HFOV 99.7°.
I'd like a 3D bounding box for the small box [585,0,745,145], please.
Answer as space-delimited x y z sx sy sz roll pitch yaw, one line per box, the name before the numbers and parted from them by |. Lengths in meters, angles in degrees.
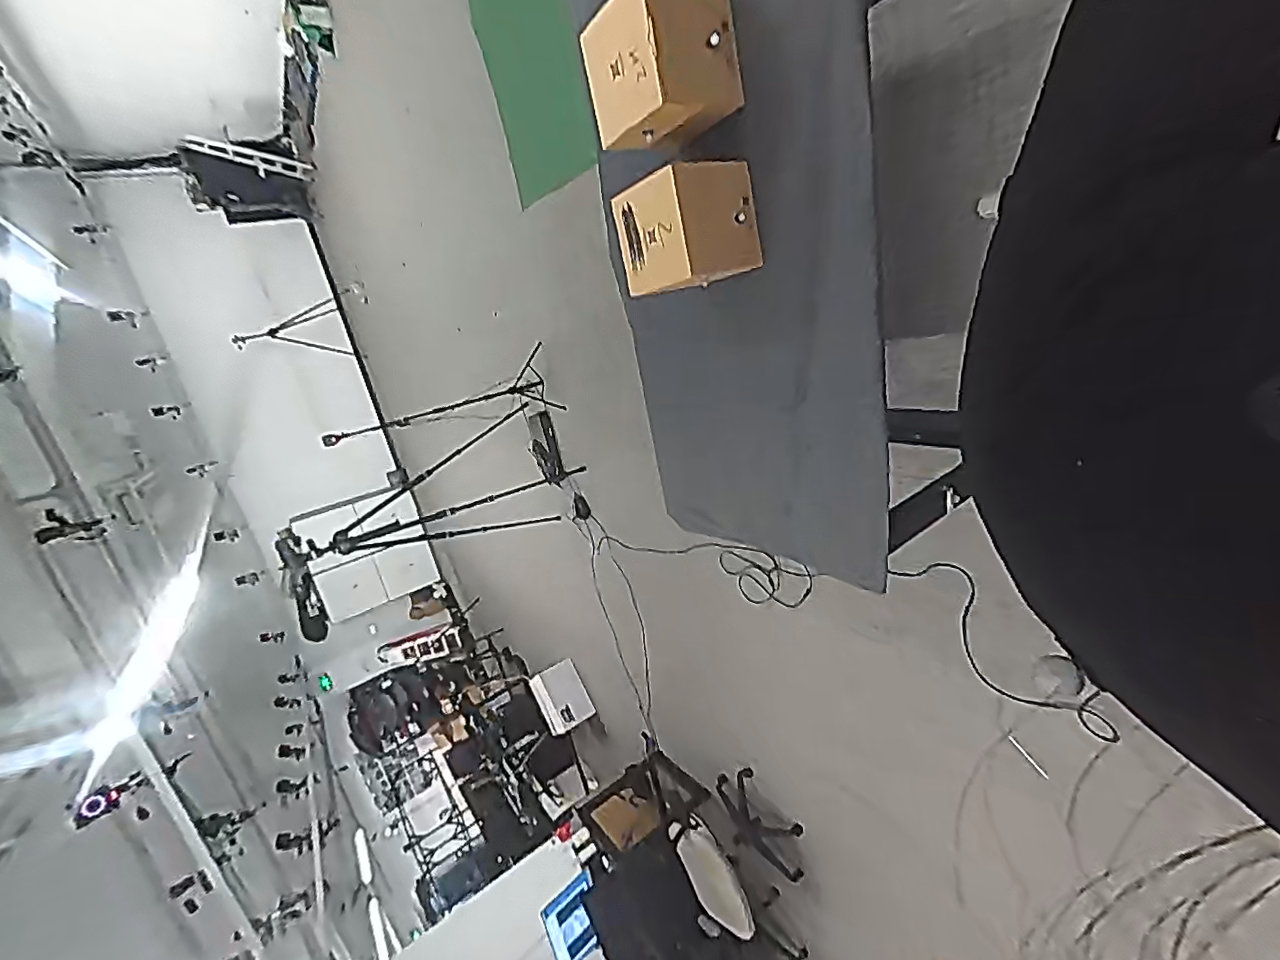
small box | 0.039 -0.655 0.861 0.179 0.176 0.168 12 120 55
